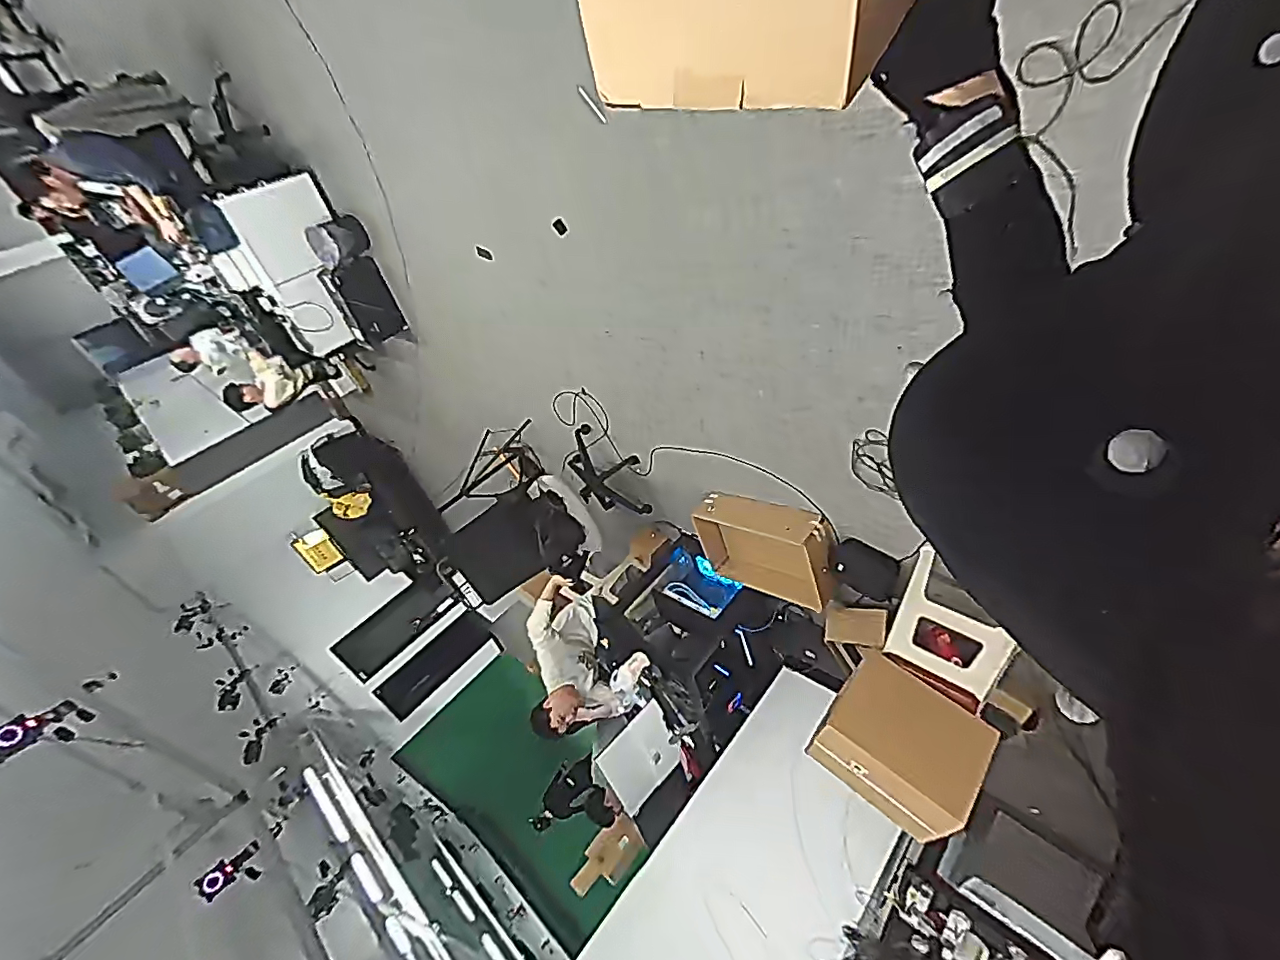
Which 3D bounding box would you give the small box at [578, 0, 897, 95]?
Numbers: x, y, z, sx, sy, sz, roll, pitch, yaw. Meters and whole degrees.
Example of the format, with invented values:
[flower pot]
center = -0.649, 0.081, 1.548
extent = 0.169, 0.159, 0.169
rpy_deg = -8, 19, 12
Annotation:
[small box]
center = 0.057, -0.339, 0.286
extent = 0.168, 0.179, 0.176
rpy_deg = 20, 155, 24
